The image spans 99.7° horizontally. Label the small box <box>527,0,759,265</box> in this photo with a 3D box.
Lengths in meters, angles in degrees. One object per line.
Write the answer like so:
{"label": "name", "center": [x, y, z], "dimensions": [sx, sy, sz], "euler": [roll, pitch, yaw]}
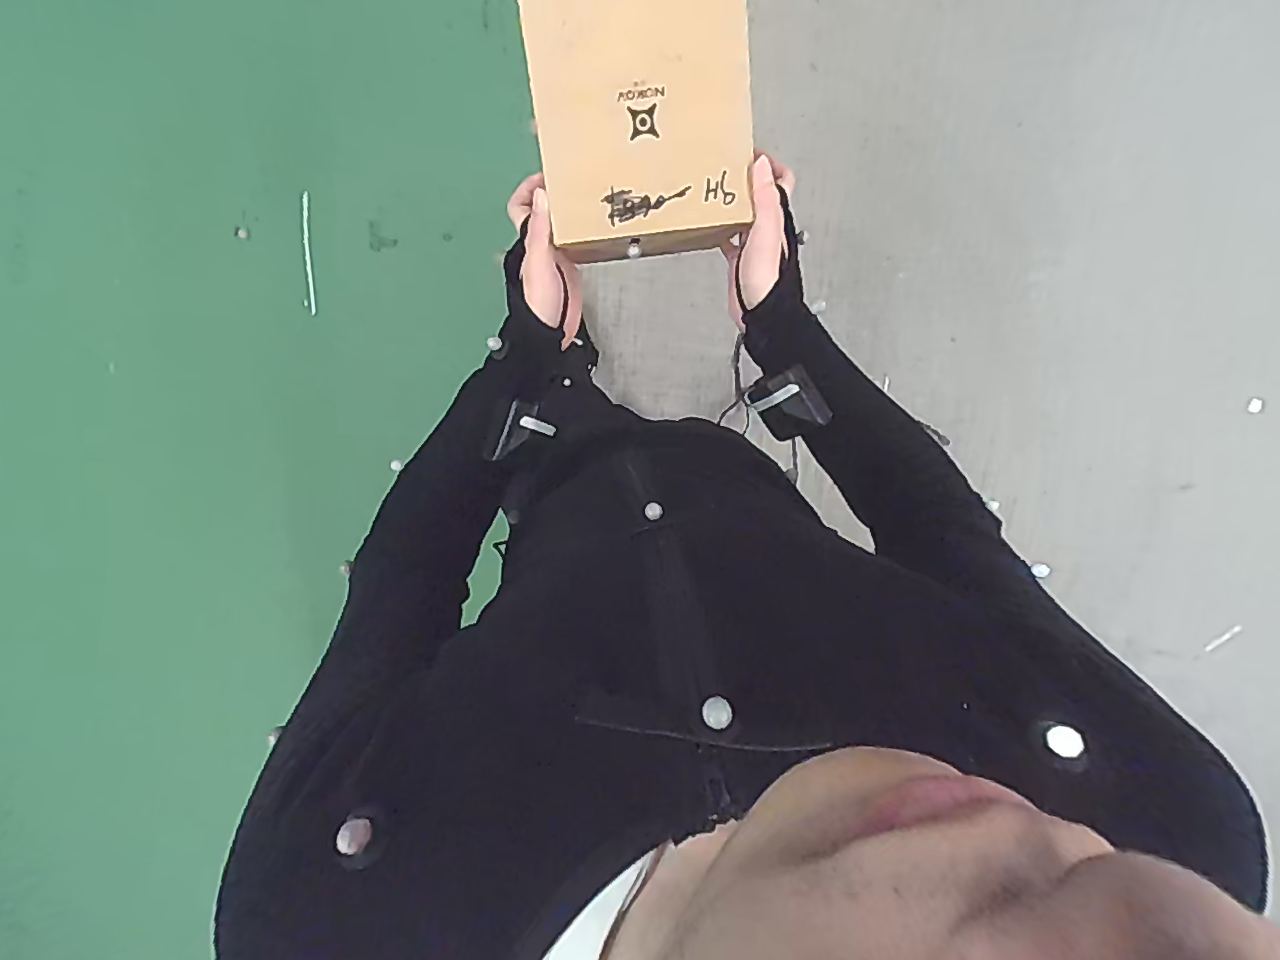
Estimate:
{"label": "small box", "center": [0.002, -0.299, 0.478], "dimensions": [0.168, 0.176, 0.179], "euler": [-6, 105, 0]}
